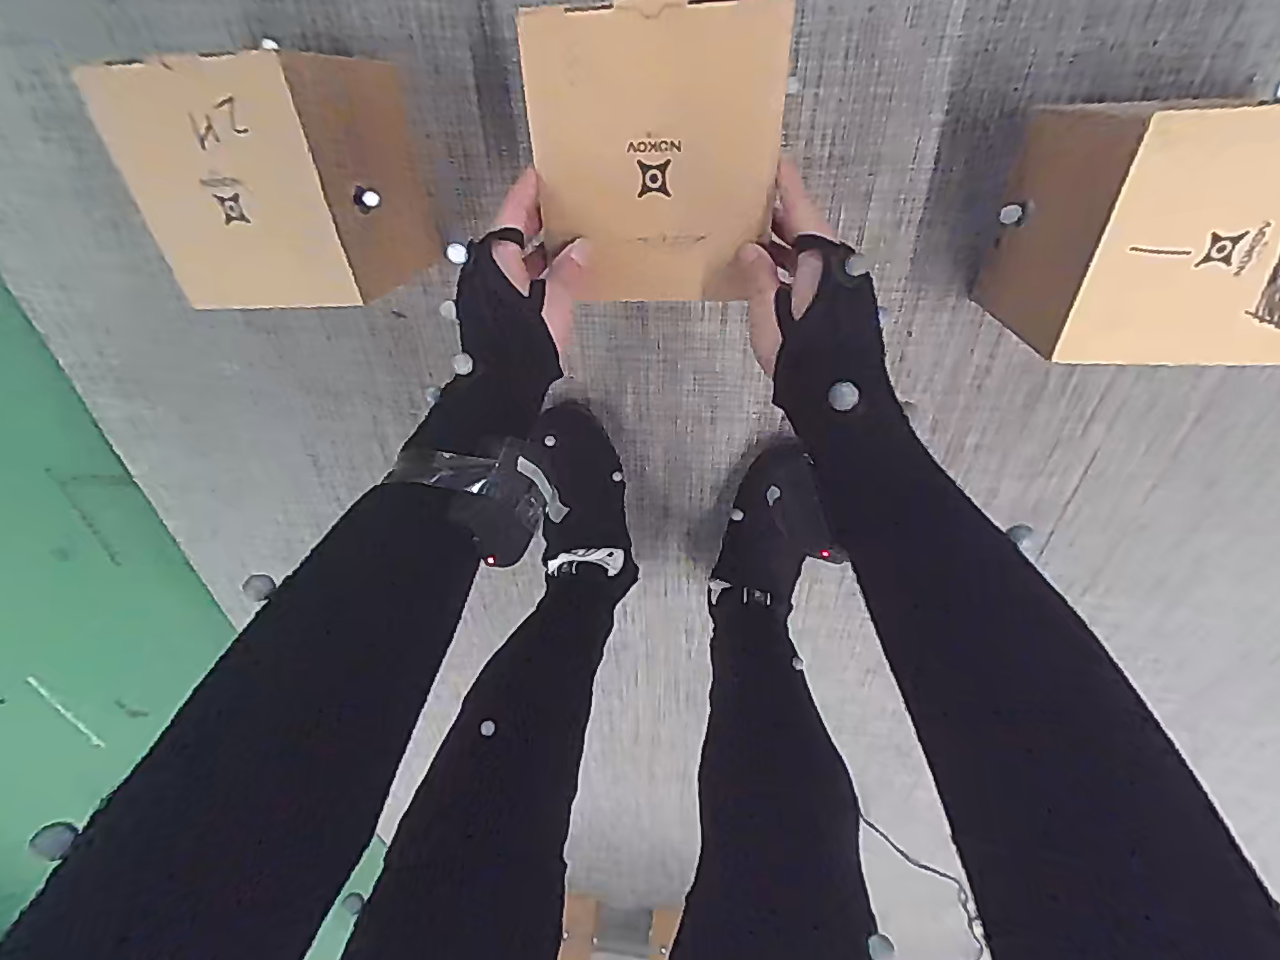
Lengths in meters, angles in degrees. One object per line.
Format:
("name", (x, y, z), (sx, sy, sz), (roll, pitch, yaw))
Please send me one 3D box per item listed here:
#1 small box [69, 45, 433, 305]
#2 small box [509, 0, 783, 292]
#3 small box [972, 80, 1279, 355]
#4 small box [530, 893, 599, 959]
("small box", (-0.312, -0.271, 0.486), (0.168, 0.176, 0.179), (1, 125, 7))
("small box", (0.013, -0.262, 0.427), (0.168, 0.176, 0.179), (3, 127, 8))
("small box", (0.402, -0.207, 0.421), (0.179, 0.176, 0.168), (2, 125, 8))
("small box", (-0.221, 1.387, 1.641), (0.179, 0.176, 0.168), (4, 125, 5))
